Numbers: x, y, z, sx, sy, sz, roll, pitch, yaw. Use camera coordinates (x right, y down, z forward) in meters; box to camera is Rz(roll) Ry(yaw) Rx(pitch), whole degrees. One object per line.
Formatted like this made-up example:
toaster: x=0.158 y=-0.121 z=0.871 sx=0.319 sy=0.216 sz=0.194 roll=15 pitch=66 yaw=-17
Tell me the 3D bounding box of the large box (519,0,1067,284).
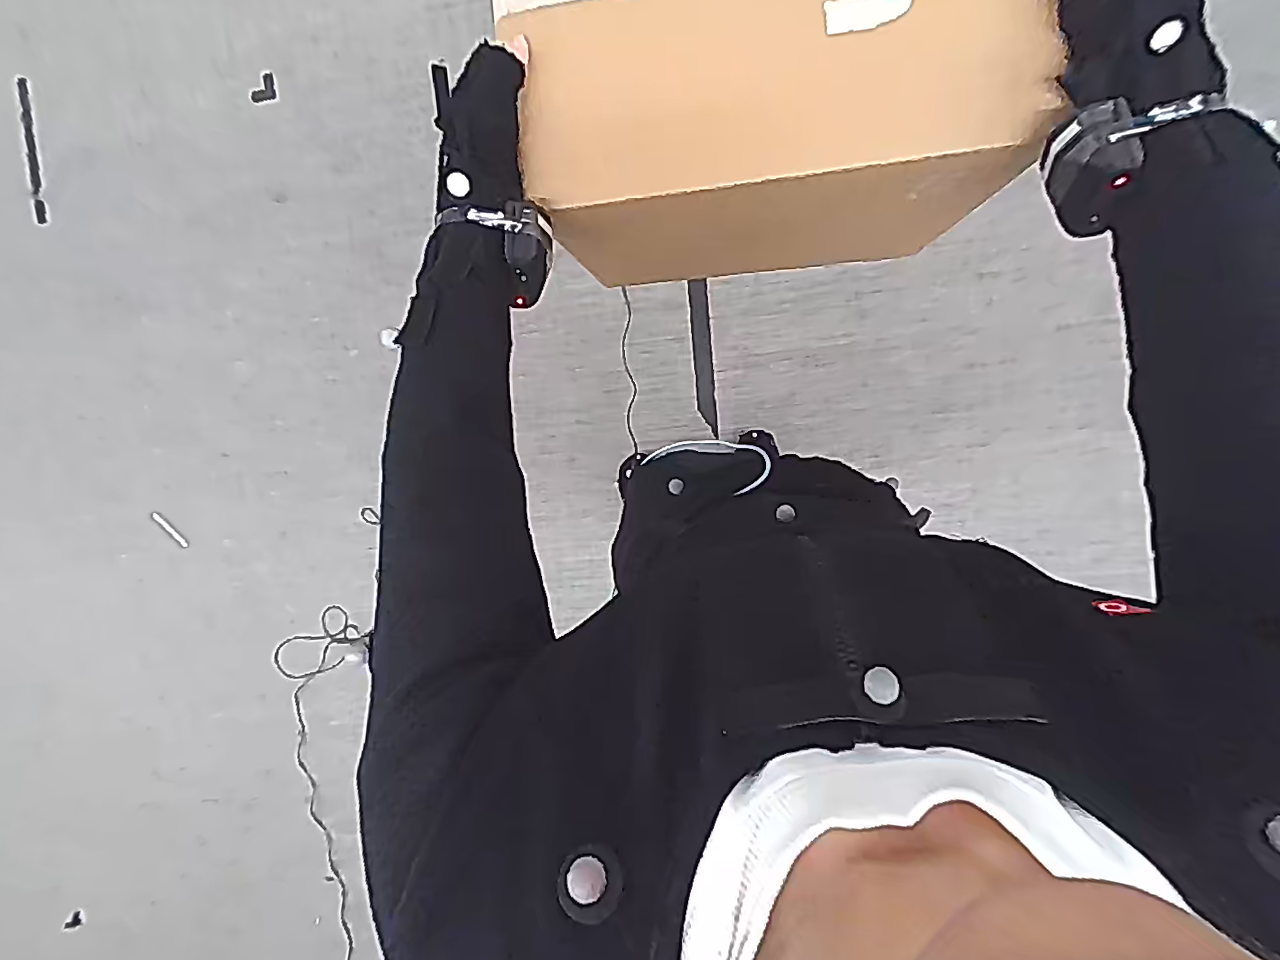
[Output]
large box: x=0.117 y=-0.411 z=0.546 sx=0.408 sy=0.320 sz=0.320 roll=-4 pitch=98 yaw=8
